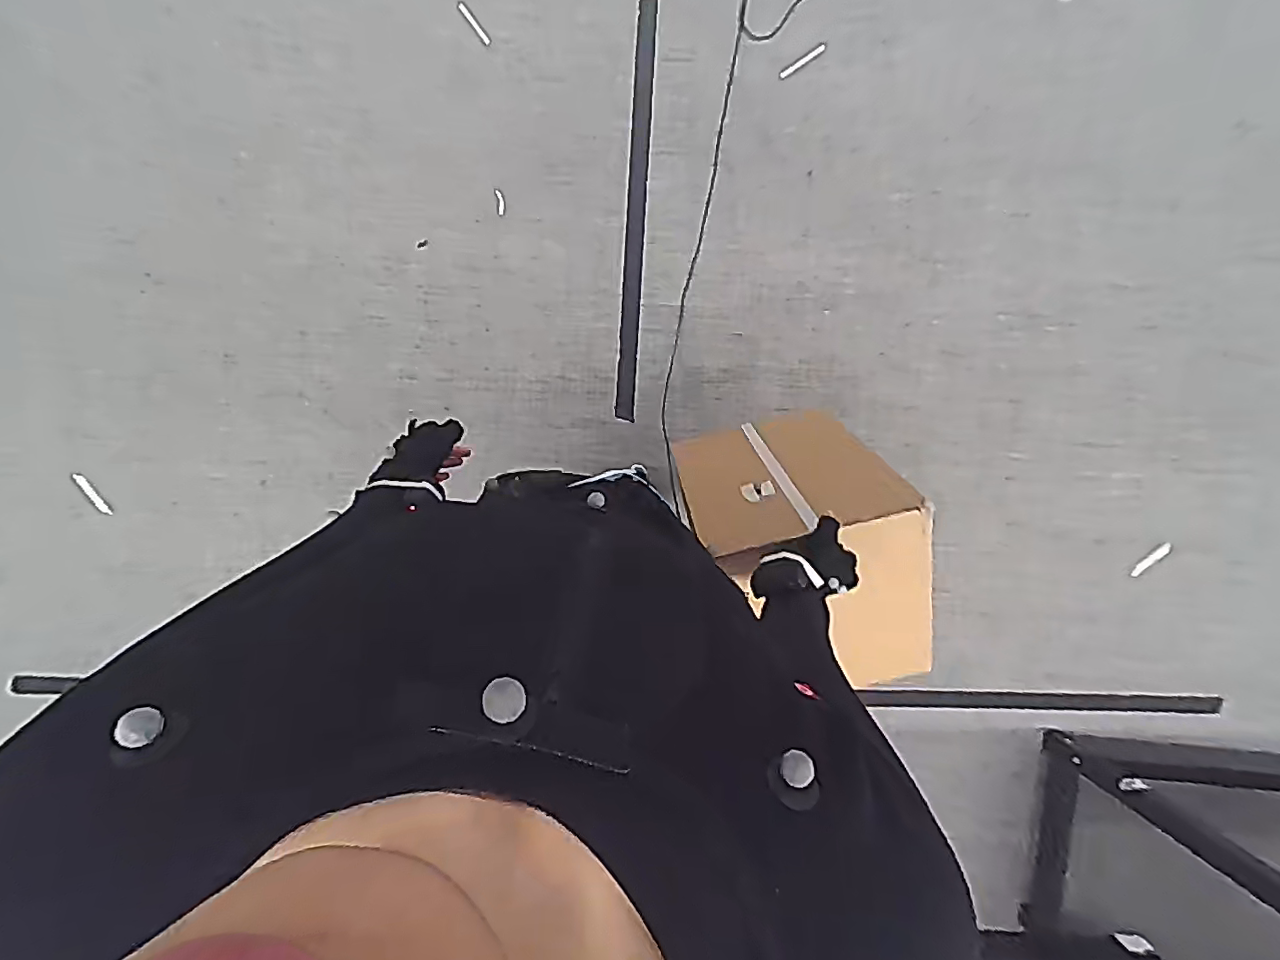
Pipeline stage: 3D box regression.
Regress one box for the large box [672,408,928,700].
[{"bbox_3d":[0.262,0.109,0.979,0.320,0.408,0.320,-15,118,4],"label":"large box"}]
